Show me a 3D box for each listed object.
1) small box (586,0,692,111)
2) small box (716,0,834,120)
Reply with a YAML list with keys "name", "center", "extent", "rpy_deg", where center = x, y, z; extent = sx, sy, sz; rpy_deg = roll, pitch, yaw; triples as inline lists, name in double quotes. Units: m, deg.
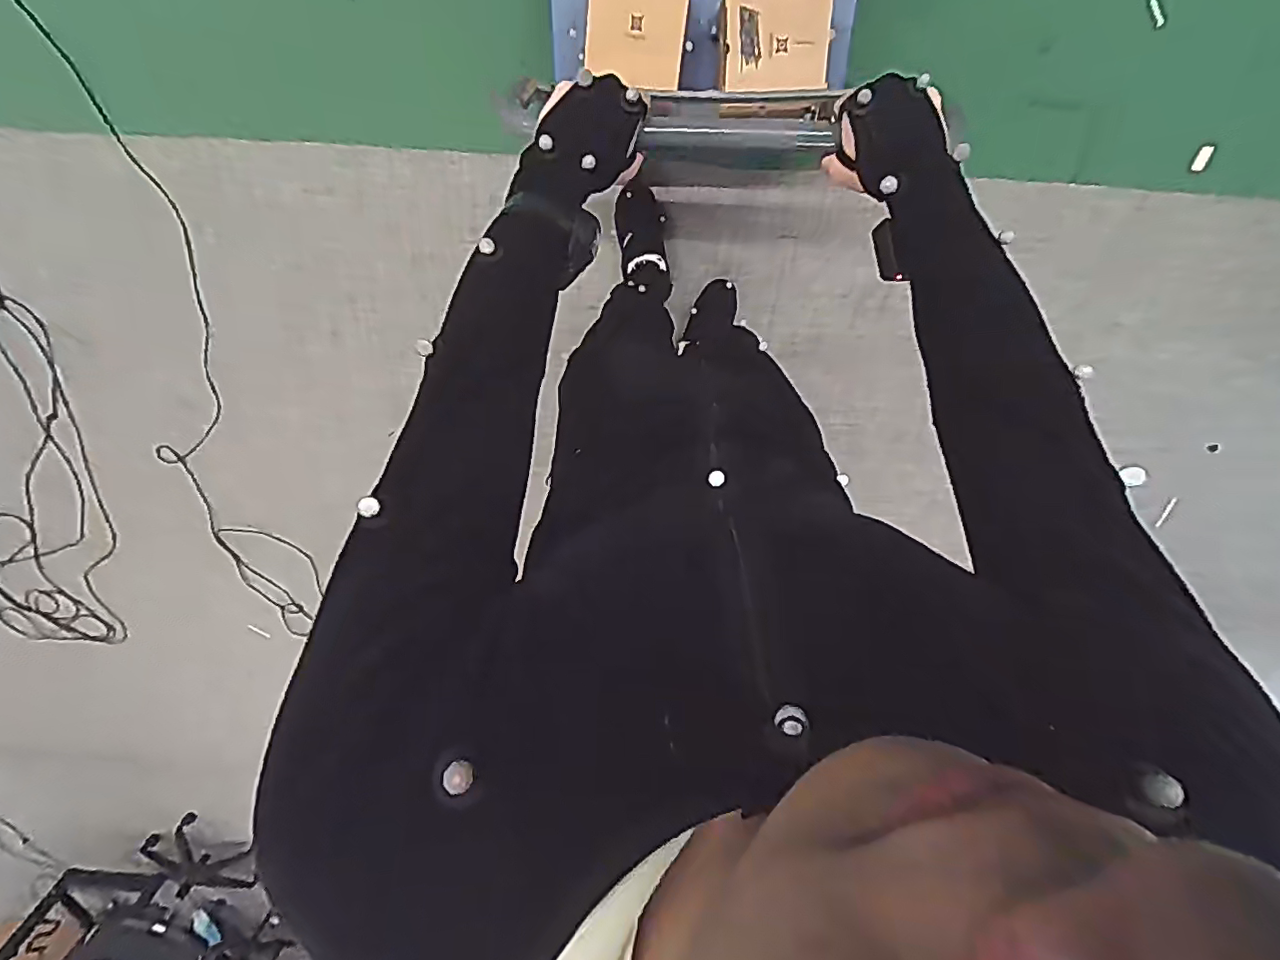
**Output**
- name: "small box"
  center: [-0.003, -0.788, 0.974]
  extent: [0.168, 0.176, 0.179]
  rpy_deg: [7, 120, -2]
- name: "small box"
  center: [0.232, -0.760, 0.977]
  extent: [0.179, 0.176, 0.168]
  rpy_deg: [-2, 119, 2]
